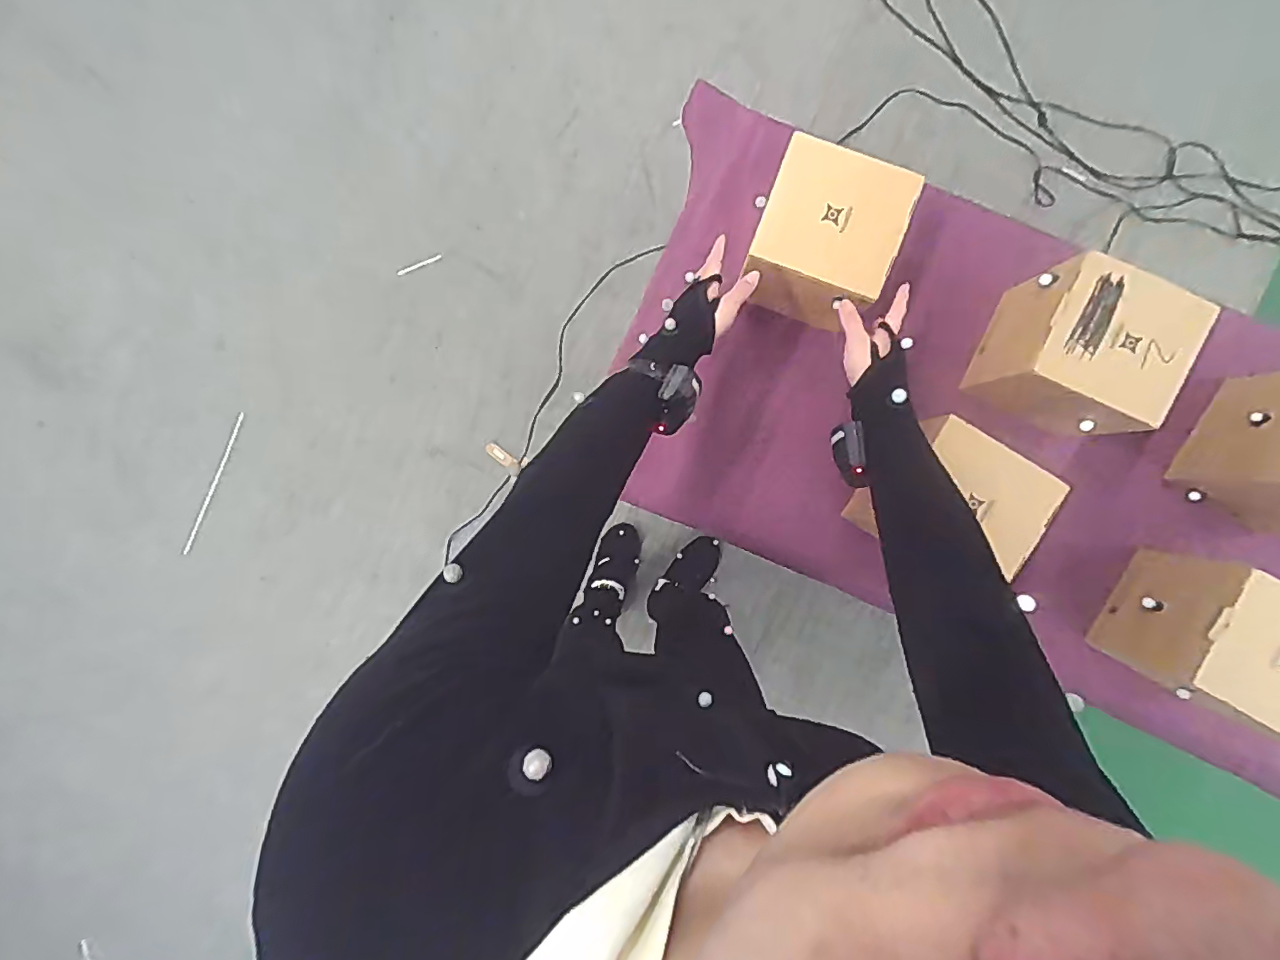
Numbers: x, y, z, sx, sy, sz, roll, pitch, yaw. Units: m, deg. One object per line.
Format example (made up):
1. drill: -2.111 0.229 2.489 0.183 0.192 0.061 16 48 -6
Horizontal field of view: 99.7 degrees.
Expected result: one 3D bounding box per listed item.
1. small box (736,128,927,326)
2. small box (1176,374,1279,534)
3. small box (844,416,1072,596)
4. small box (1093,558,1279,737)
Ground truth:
1. small box: 0.246 -0.331 0.747 0.179 0.176 0.168 21 92 1
2. small box: 0.893 -0.030 0.723 0.168 0.176 0.179 31 92 2
3. small box: 0.420 0.030 0.747 0.179 0.176 0.168 33 91 2
4. small box: 0.784 0.218 0.732 0.179 0.176 0.168 30 91 3
